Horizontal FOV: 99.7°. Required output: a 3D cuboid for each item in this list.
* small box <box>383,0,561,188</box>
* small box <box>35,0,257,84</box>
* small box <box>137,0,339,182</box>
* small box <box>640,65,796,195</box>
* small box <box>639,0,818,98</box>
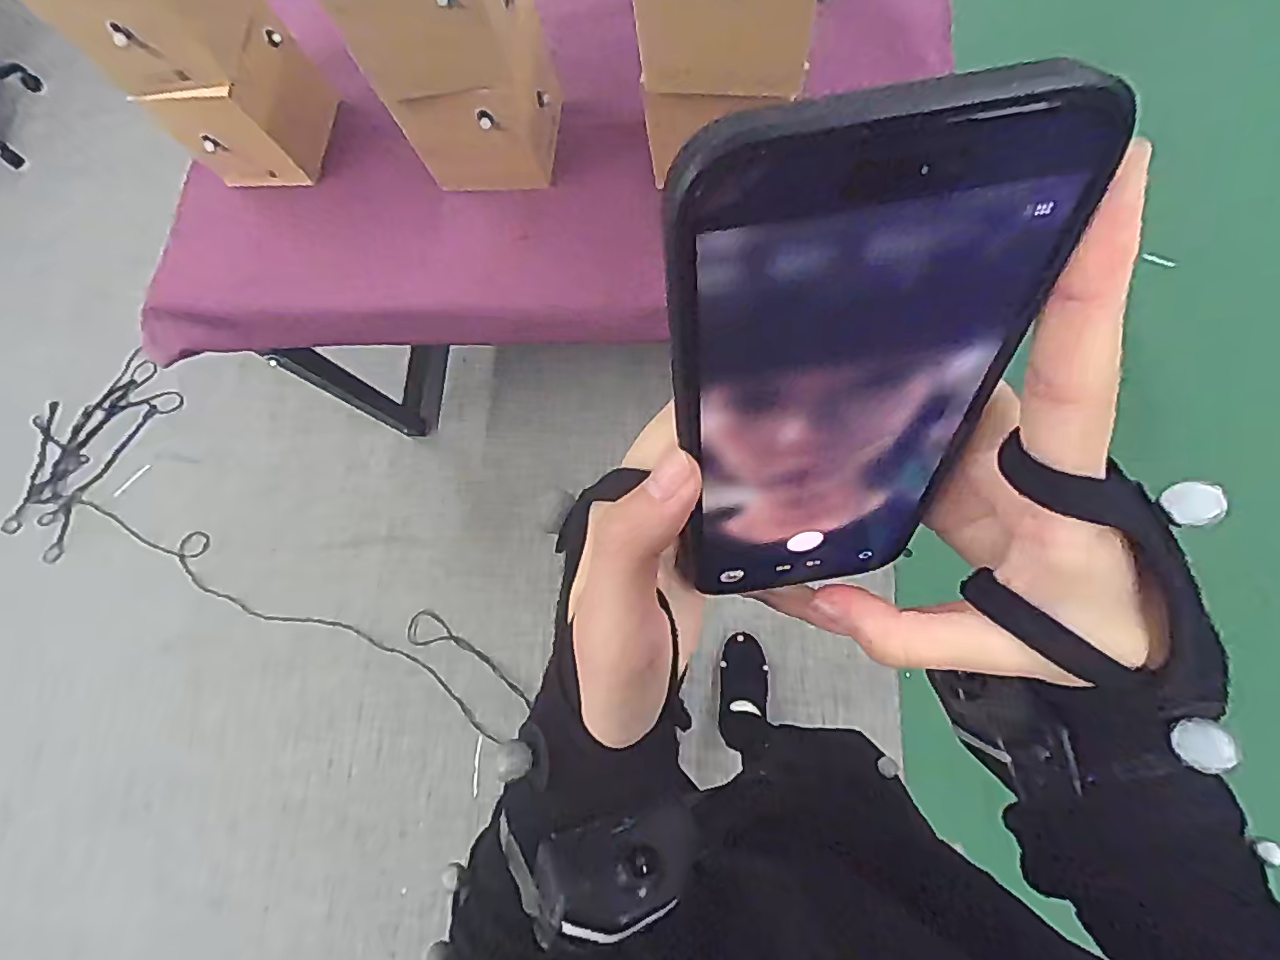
[{"bbox_3d":[-0.222,-0.542,0.766,0.179,0.176,0.168,4,77,10],"label":"small box"},{"bbox_3d":[-0.626,-0.637,0.680,0.168,0.176,0.179,0,77,8],"label":"small box"},{"bbox_3d":[-0.603,-0.591,0.836,0.168,0.176,0.179,5,77,10],"label":"small box"},{"bbox_3d":[0.112,-0.504,0.708,0.179,0.176,0.168,10,78,11],"label":"small box"},{"bbox_3d":[0.095,-0.526,0.546,0.179,0.176,0.168,10,78,10],"label":"small box"}]
